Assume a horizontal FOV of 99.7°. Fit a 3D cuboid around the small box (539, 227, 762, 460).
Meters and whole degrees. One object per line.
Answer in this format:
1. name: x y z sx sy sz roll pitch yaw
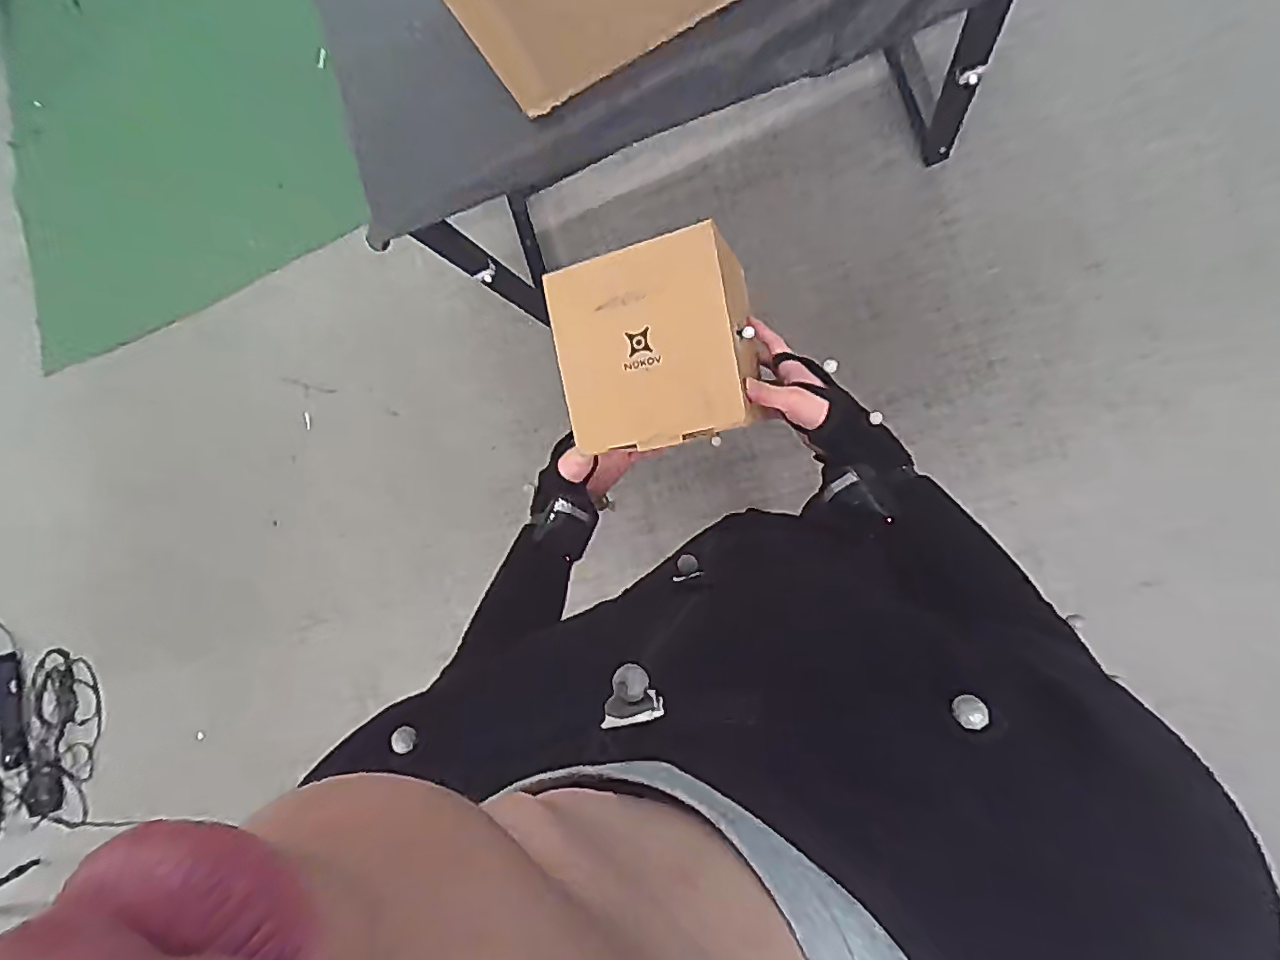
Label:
1. small box: 0.023 -0.126 0.558 0.168 0.176 0.179 -10 93 21
